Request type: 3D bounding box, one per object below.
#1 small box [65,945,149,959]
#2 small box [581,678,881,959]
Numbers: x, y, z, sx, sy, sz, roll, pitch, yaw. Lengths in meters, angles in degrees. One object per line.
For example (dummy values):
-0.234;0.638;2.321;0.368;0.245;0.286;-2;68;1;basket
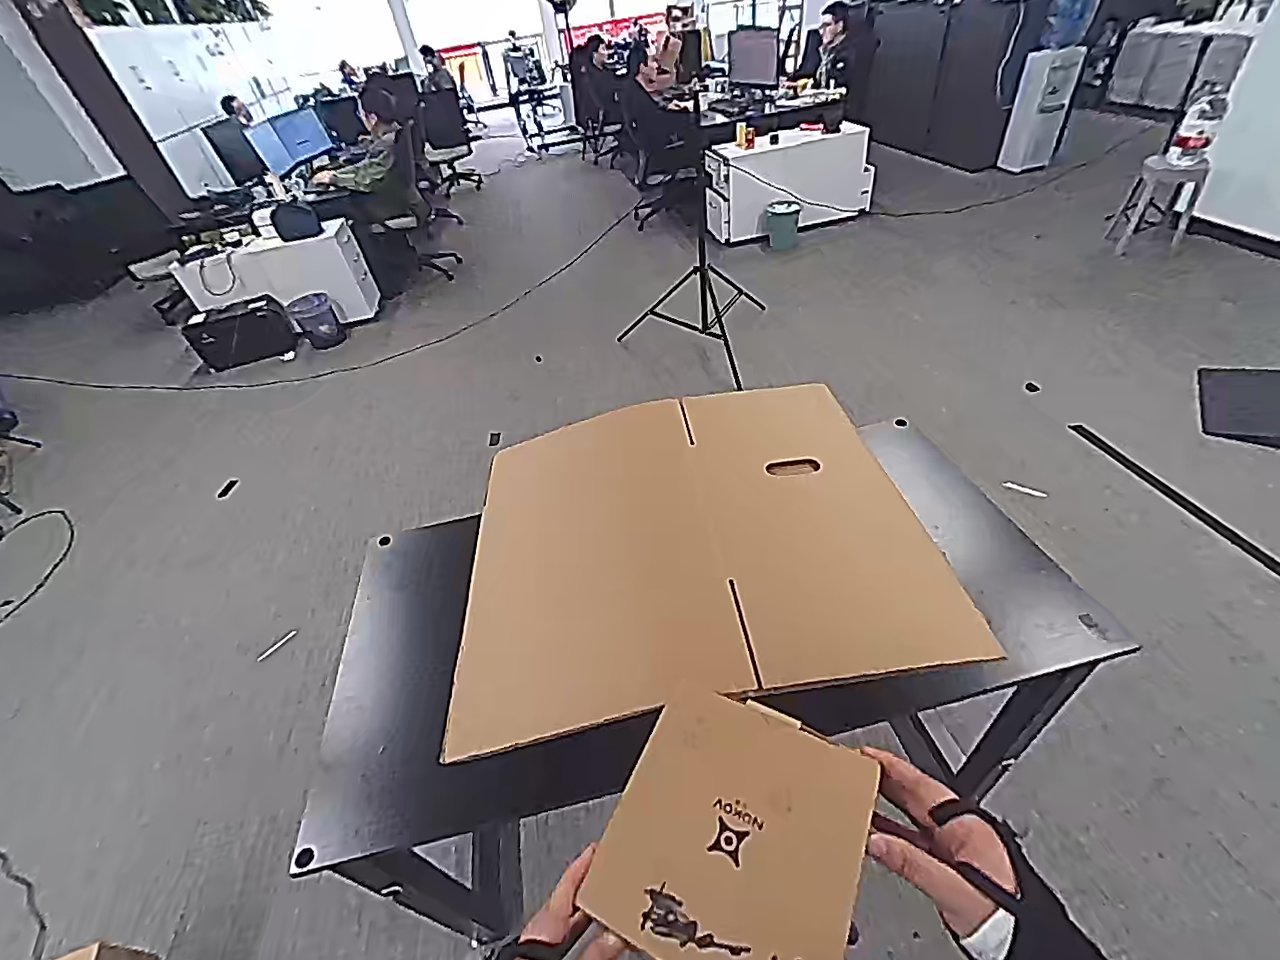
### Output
-1.045;1.010;0.996;0.168;0.176;0.179;-17;41;-10;small box
0.078;0.303;0.434;0.168;0.176;0.179;15;47;26;small box
